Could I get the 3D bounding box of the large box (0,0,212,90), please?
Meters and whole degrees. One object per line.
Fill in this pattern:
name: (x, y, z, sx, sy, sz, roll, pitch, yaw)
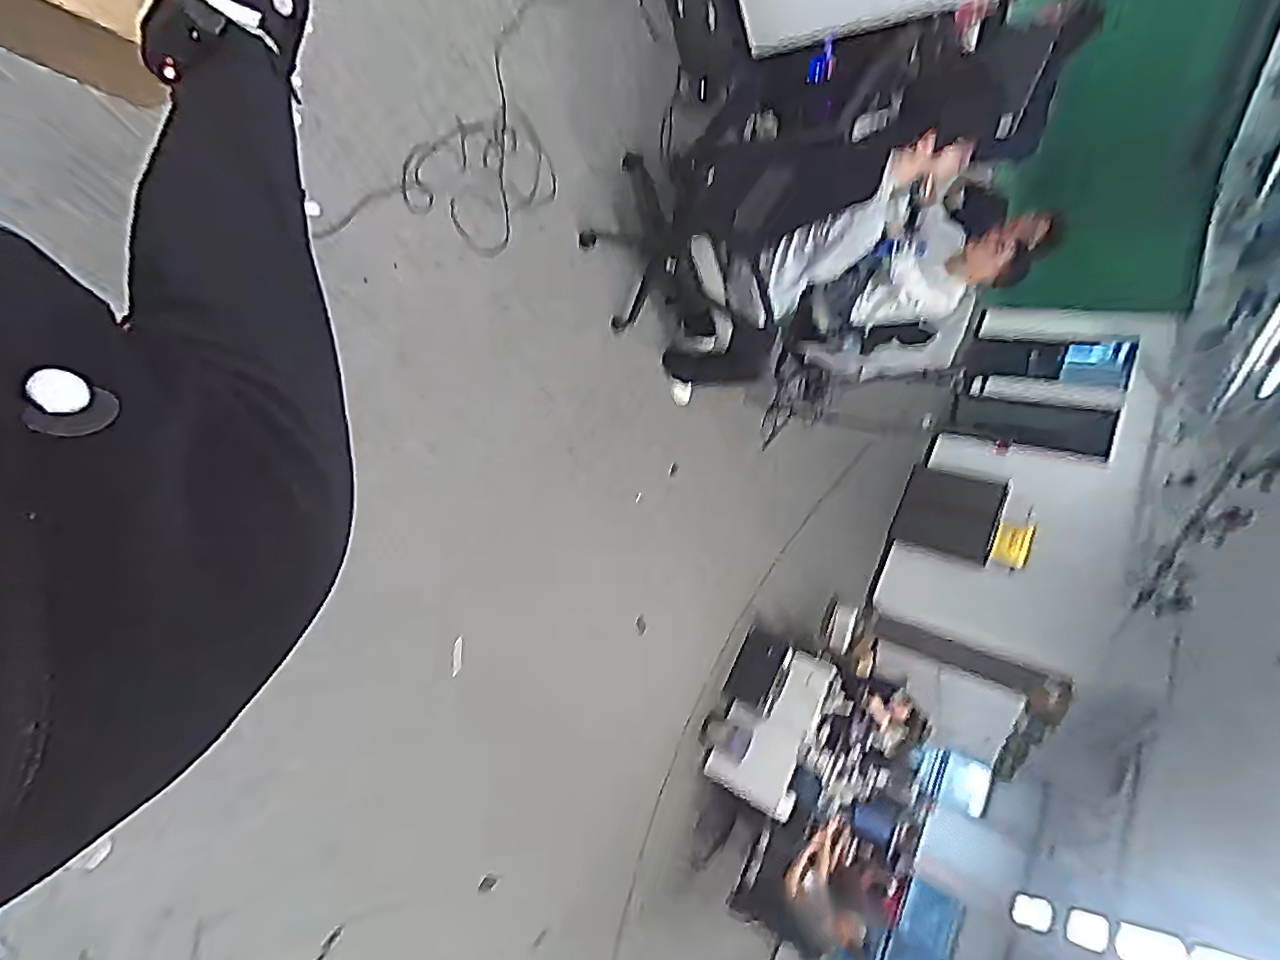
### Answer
large box: (-0.564, -0.542, 0.364, 0.408, 0.320, 0.320, 1, 108, -51)
